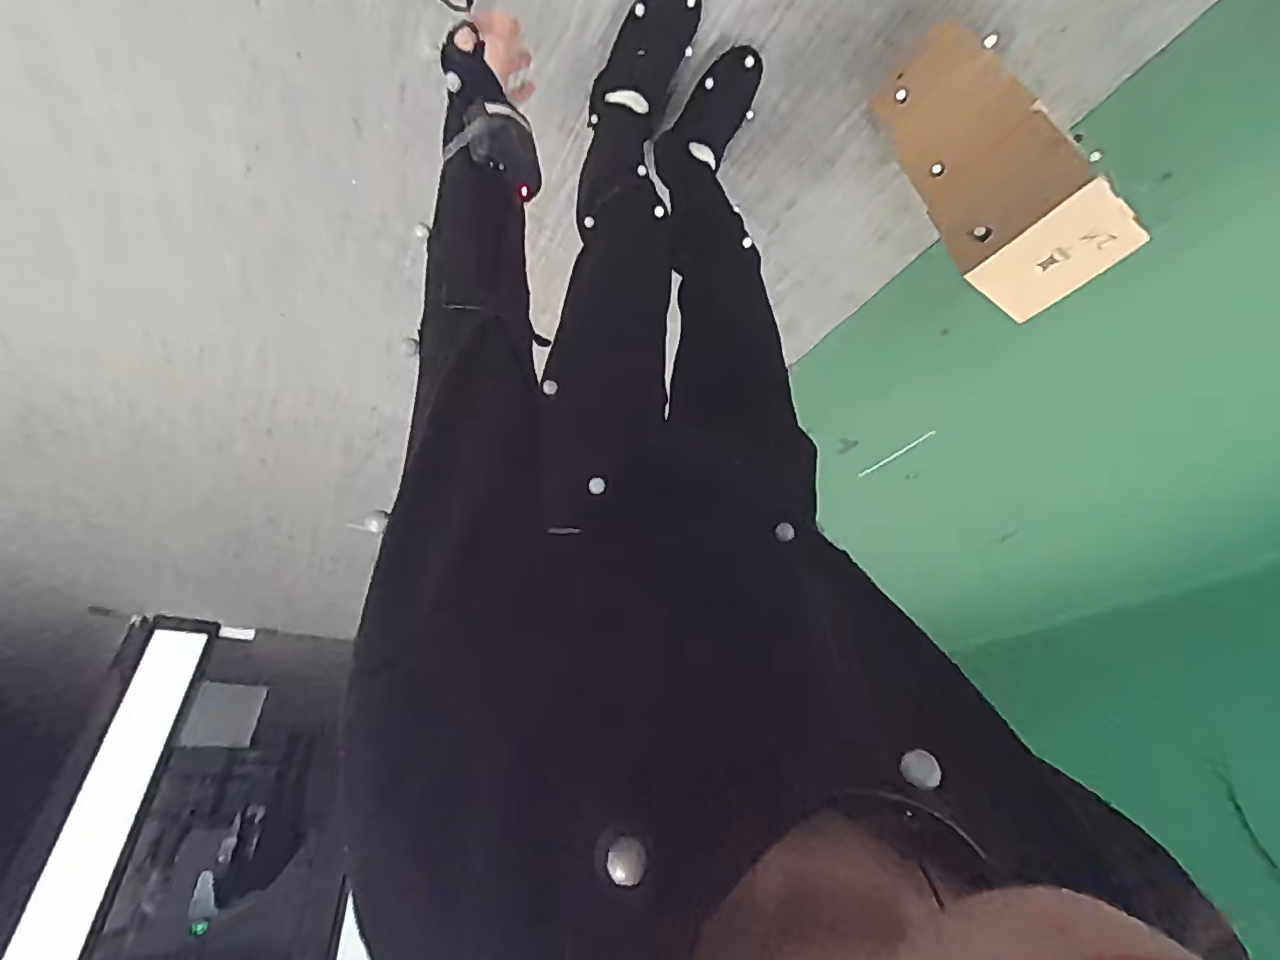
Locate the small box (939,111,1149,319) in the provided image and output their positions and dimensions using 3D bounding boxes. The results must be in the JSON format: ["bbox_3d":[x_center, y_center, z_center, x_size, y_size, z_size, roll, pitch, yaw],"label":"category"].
[{"bbox_3d":[0.570,-0.381,0.790,0.168,0.176,0.179,18,142,-29],"label":"small box"}]

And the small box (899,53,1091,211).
[{"bbox_3d":[0.556,-0.526,0.867,0.168,0.176,0.179,18,142,-28],"label":"small box"}]
